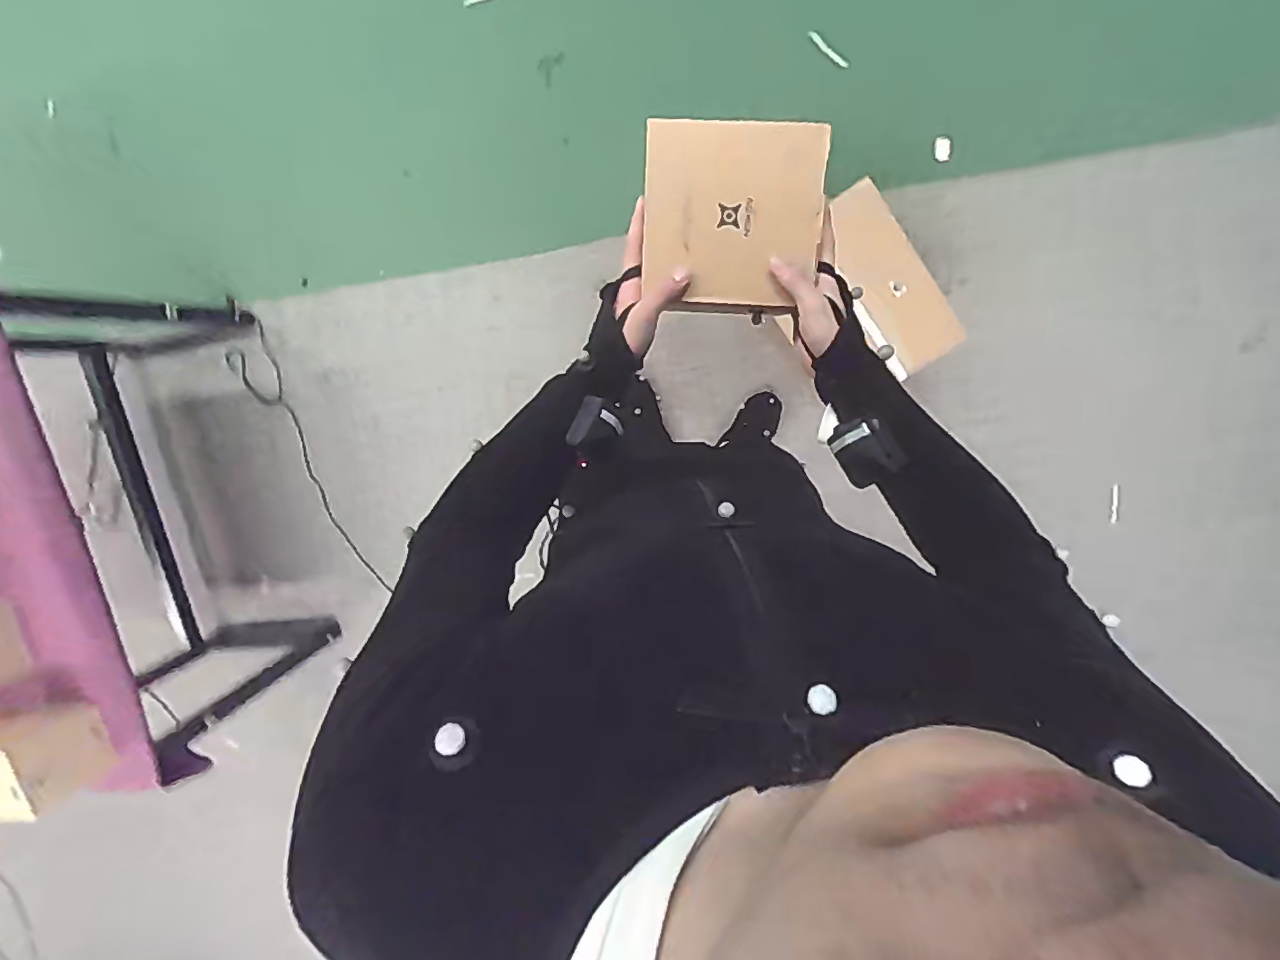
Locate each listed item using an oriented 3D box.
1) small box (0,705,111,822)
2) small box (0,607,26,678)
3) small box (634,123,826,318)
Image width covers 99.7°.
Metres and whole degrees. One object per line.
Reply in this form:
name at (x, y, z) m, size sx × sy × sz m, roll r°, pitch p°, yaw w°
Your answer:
small box at (-1.363, 0.627, 1.213) m, size 0.179 × 0.176 × 0.168 m, roll -7°, pitch 102°, yaw 13°
small box at (-1.533, 0.376, 1.186) m, size 0.168 × 0.176 × 0.179 m, roll -4°, pitch 102°, yaw 12°
small box at (0.087, -0.270, 0.598) m, size 0.179 × 0.176 × 0.168 m, roll 3°, pitch 104°, yaw 3°
